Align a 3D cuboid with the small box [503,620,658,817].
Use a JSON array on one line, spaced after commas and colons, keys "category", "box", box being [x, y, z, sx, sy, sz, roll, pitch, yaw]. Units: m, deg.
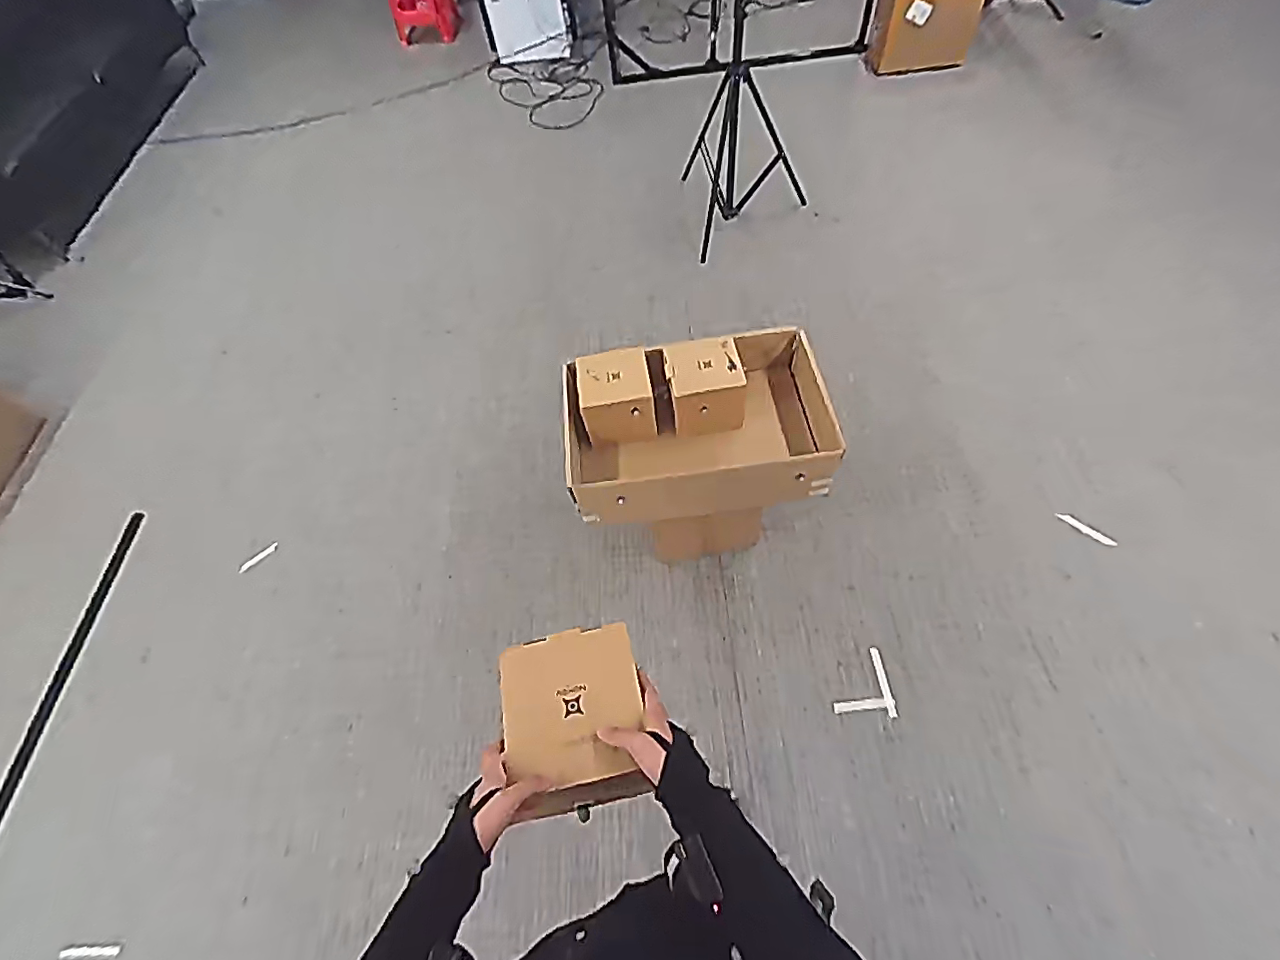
[{"category": "small box", "box": [-0.074, 0.309, 0.698, 0.168, 0.176, 0.179, -11, 52, -5]}]
